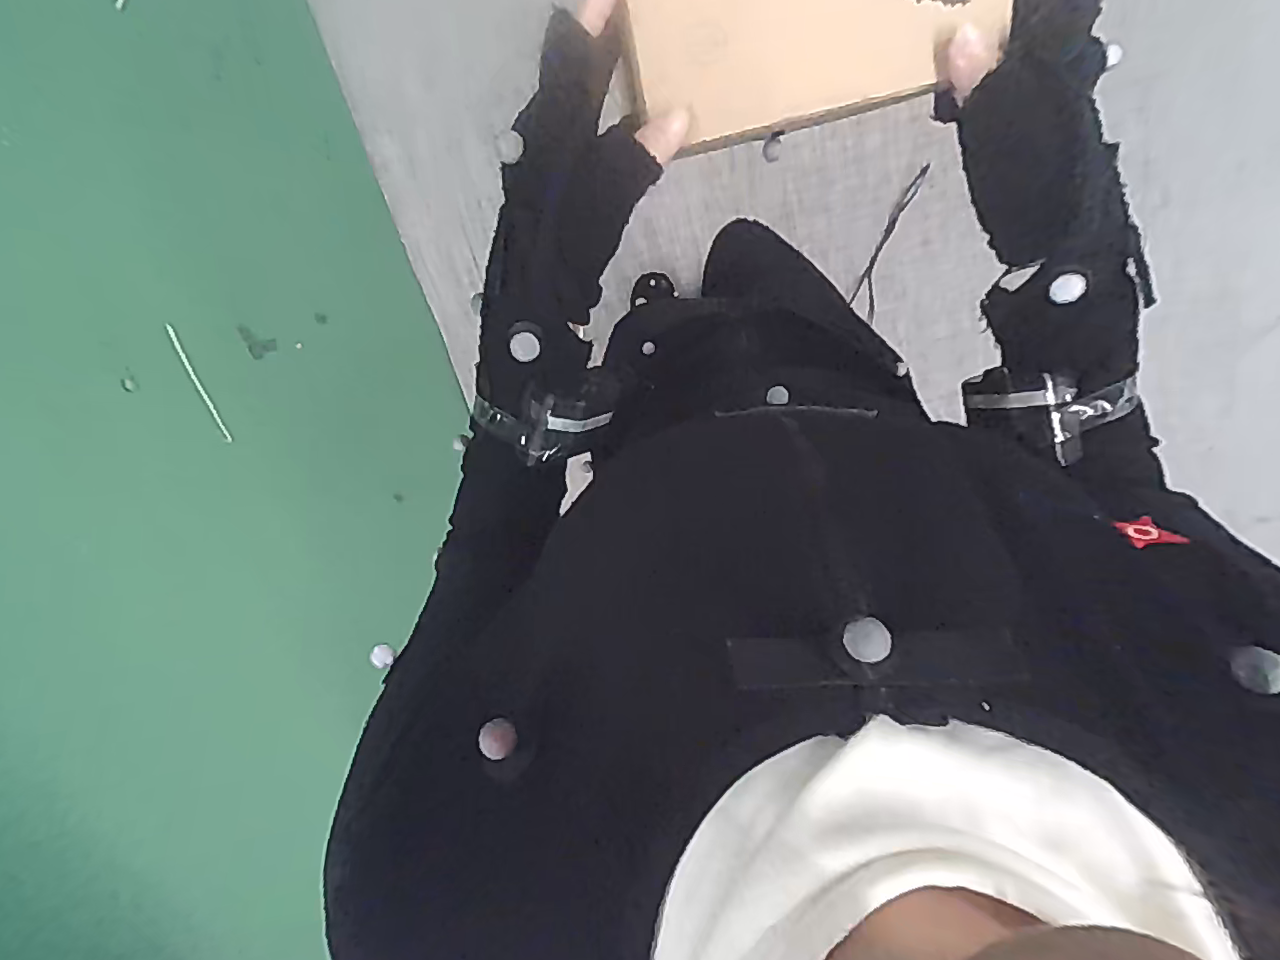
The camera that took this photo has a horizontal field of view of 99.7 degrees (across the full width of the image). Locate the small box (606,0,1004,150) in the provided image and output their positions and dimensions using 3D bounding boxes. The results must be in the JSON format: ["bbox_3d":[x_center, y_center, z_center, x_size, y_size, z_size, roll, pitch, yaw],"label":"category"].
[{"bbox_3d":[0.069,-0.294,0.295,0.179,0.176,0.168,-9,116,2],"label":"small box"}]

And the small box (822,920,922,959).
[{"bbox_3d":[0.450,0.968,1.009,0.179,0.176,0.168,-15,113,7],"label":"small box"}]
